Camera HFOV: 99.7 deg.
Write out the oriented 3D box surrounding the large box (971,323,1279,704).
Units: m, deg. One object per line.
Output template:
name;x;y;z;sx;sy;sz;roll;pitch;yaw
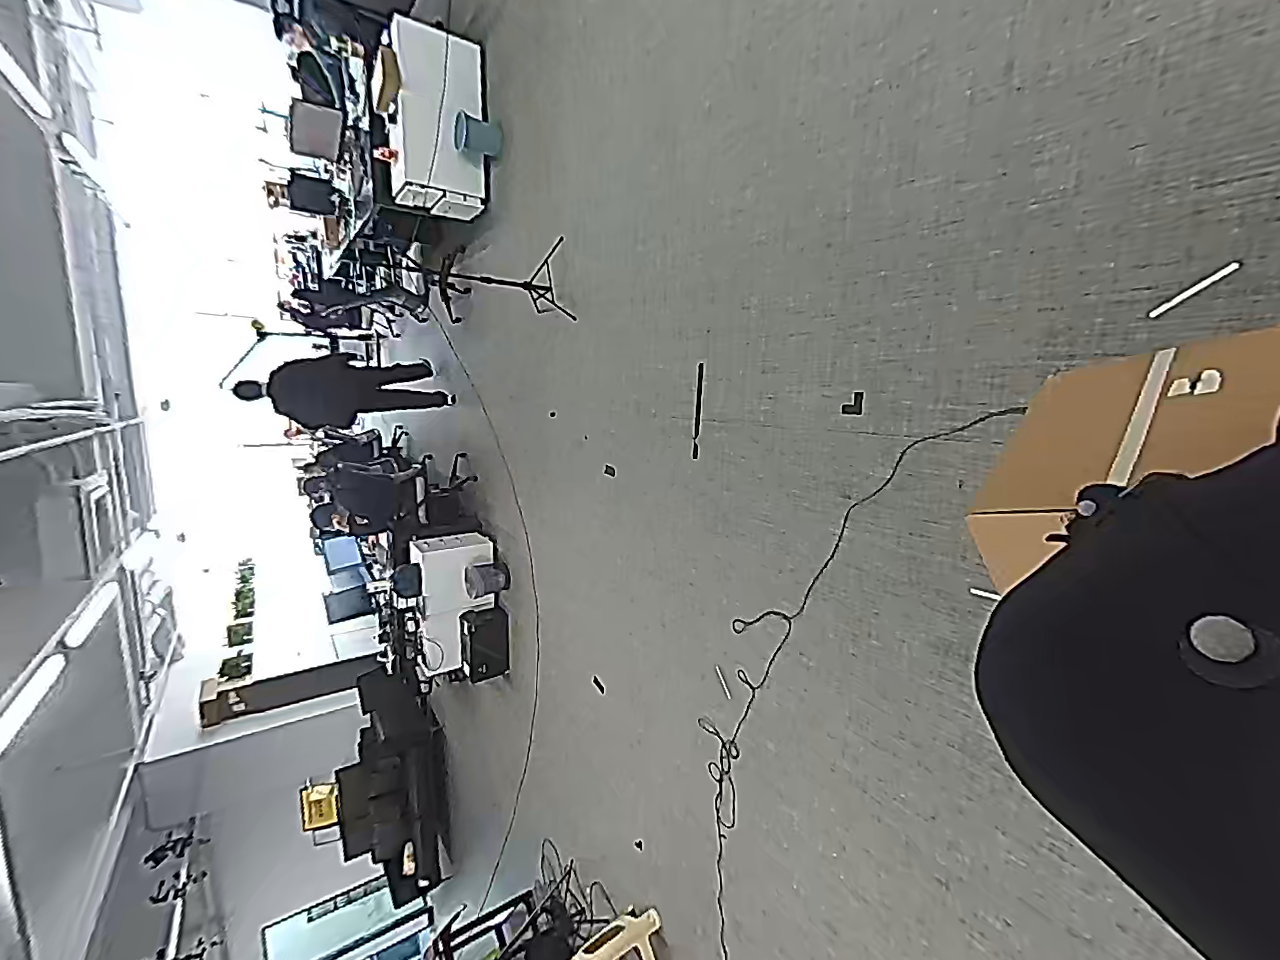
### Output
large box;0.746;0.037;0.757;0.320;0.408;0.320;-7;118;57
